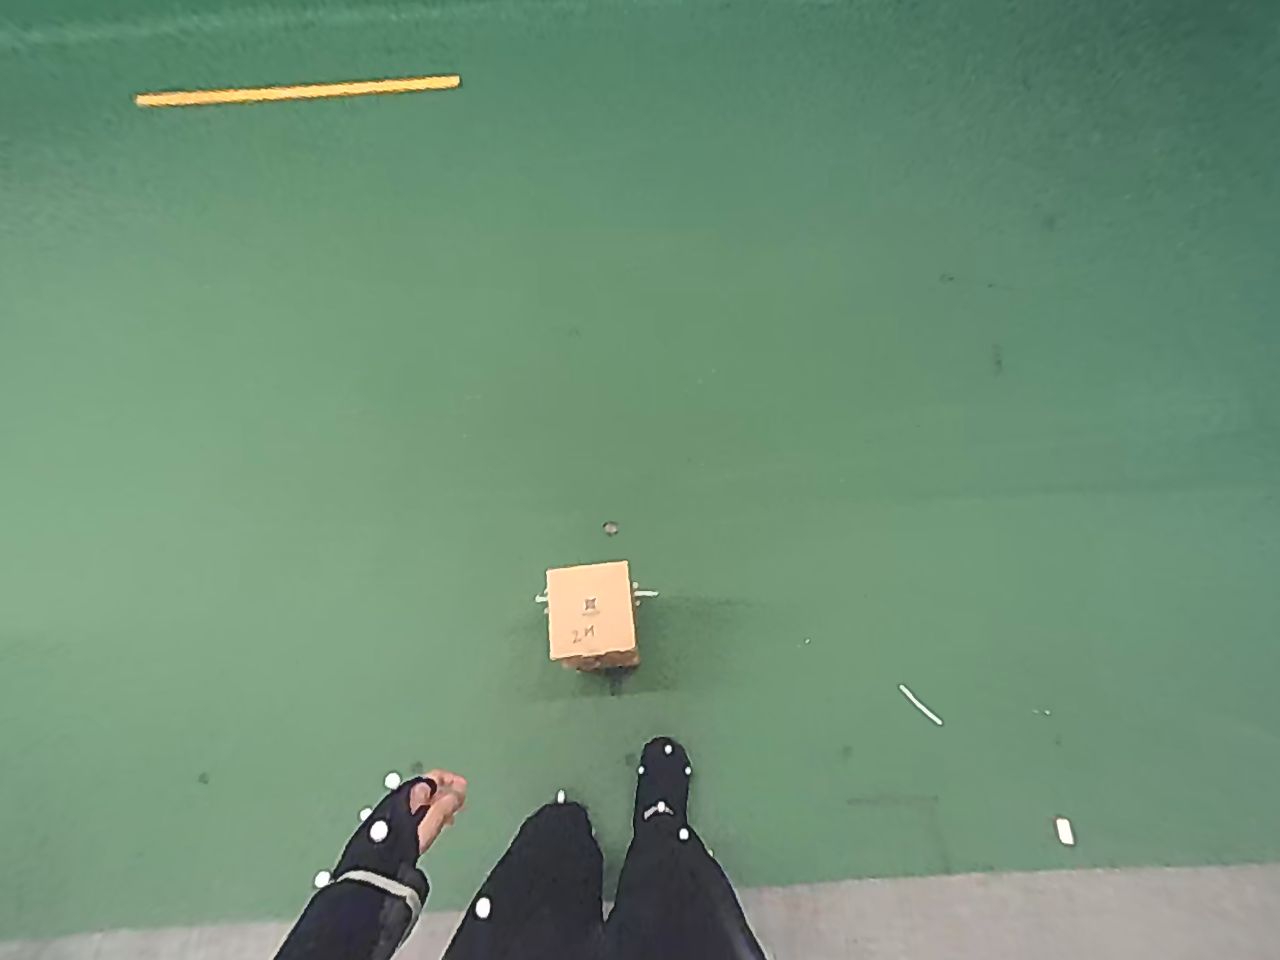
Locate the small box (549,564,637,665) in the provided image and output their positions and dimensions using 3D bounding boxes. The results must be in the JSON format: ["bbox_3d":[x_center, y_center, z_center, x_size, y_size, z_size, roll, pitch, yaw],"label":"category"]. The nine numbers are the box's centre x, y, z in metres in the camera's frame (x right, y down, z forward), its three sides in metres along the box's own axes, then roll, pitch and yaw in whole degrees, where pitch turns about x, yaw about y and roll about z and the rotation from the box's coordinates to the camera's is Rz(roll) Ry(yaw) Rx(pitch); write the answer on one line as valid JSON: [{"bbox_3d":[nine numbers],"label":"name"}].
[{"bbox_3d":[-0.096,0.285,1.133,0.168,0.176,0.179,-6,68,0],"label":"small box"}]
